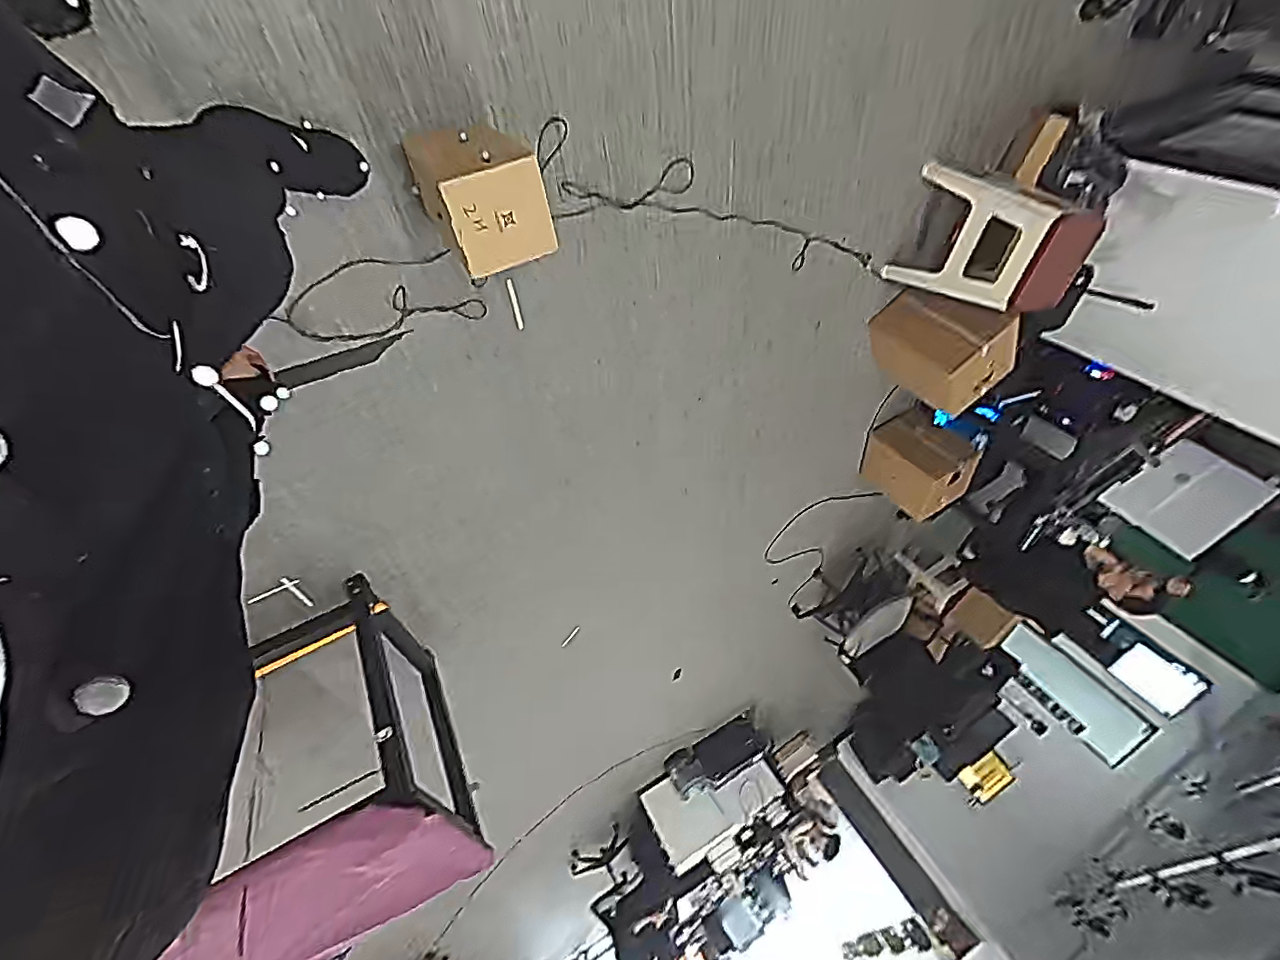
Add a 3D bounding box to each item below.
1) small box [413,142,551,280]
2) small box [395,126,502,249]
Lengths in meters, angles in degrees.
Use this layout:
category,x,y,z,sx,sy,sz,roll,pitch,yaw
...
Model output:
category,x,y,z,sx,sy,sz,roll,pitch,yaw
small box,-0.290,-0.501,0.996,0.179,0.176,0.168,-26,138,-15
small box,-0.370,-0.600,1.101,0.179,0.176,0.168,-24,138,-16
